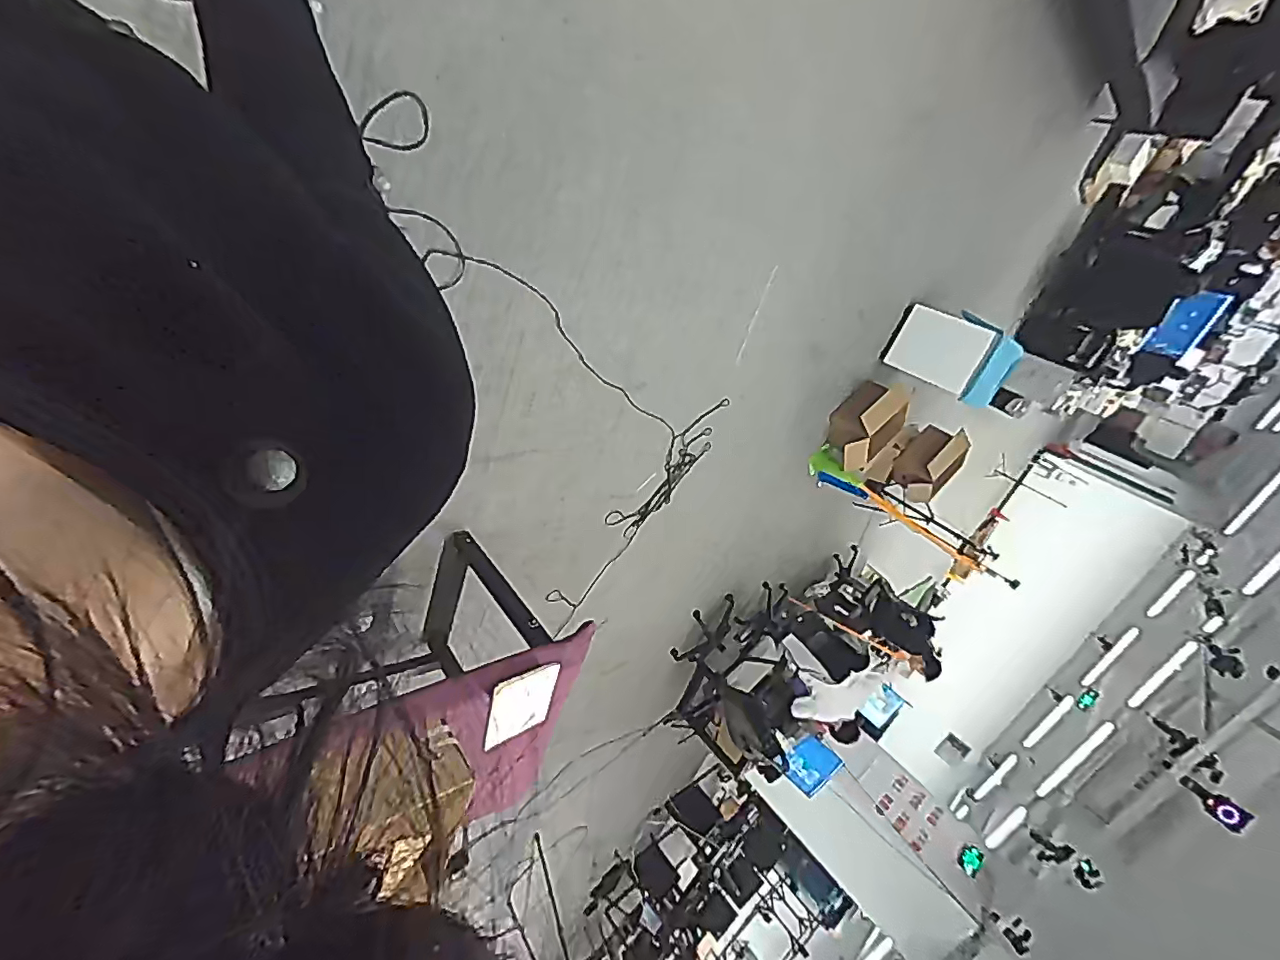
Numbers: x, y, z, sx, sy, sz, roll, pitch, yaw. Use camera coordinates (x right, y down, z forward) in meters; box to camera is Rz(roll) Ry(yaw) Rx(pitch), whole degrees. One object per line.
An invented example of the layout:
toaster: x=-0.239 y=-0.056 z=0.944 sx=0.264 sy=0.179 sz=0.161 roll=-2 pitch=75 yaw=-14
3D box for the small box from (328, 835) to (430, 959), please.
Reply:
small box: x=-0.633 y=1.001 z=1.302 sx=0.168 sy=0.176 sz=0.179 roll=-3 pitch=122 yaw=-46

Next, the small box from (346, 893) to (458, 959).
small box: x=-0.534 y=1.079 z=1.201 sx=0.179 sy=0.176 sz=0.168 roll=-6 pitch=124 yaw=-44
